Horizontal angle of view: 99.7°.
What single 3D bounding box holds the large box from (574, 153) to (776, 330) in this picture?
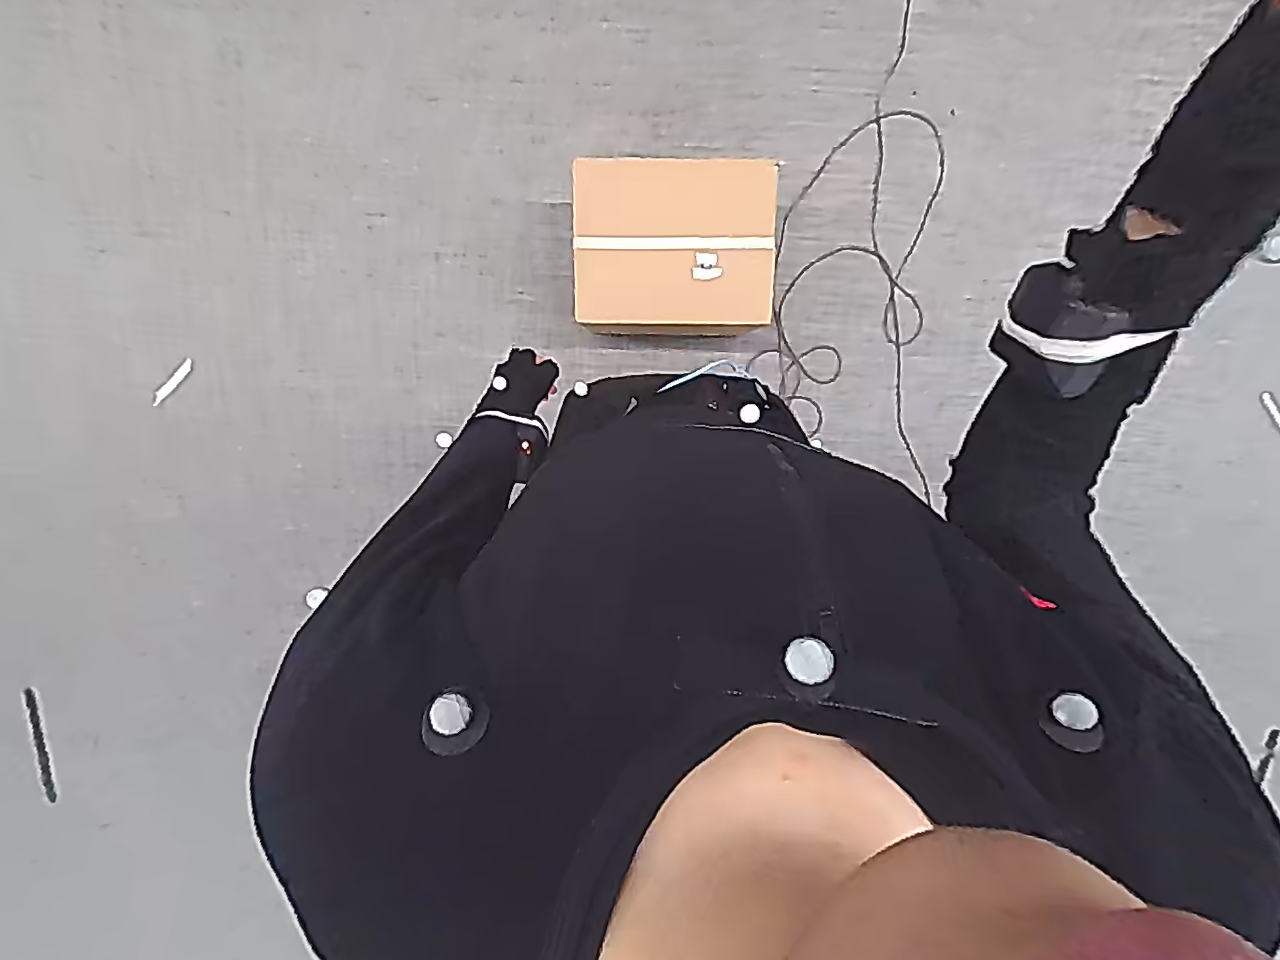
[{"bbox_3d":[0.068,-0.517,1.234,0.408,0.320,0.320,1,102,0],"label":"large box"}]
